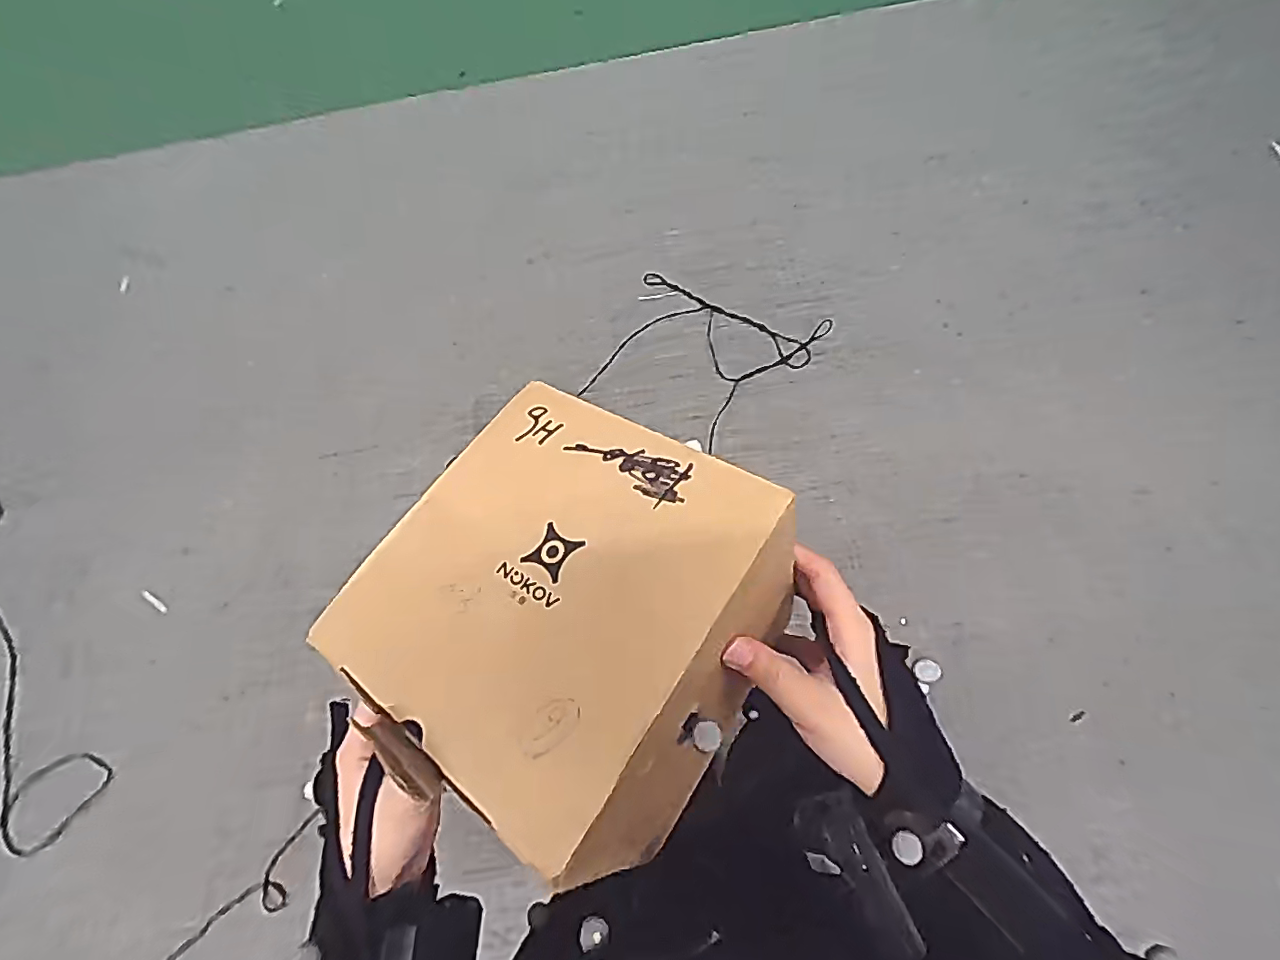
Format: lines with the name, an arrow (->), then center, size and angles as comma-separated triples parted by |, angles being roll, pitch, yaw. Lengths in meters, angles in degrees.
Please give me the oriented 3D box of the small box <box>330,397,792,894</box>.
small box -> -0.022, 0.089, 0.317 | 0.168, 0.176, 0.179 | 27, 70, 27
